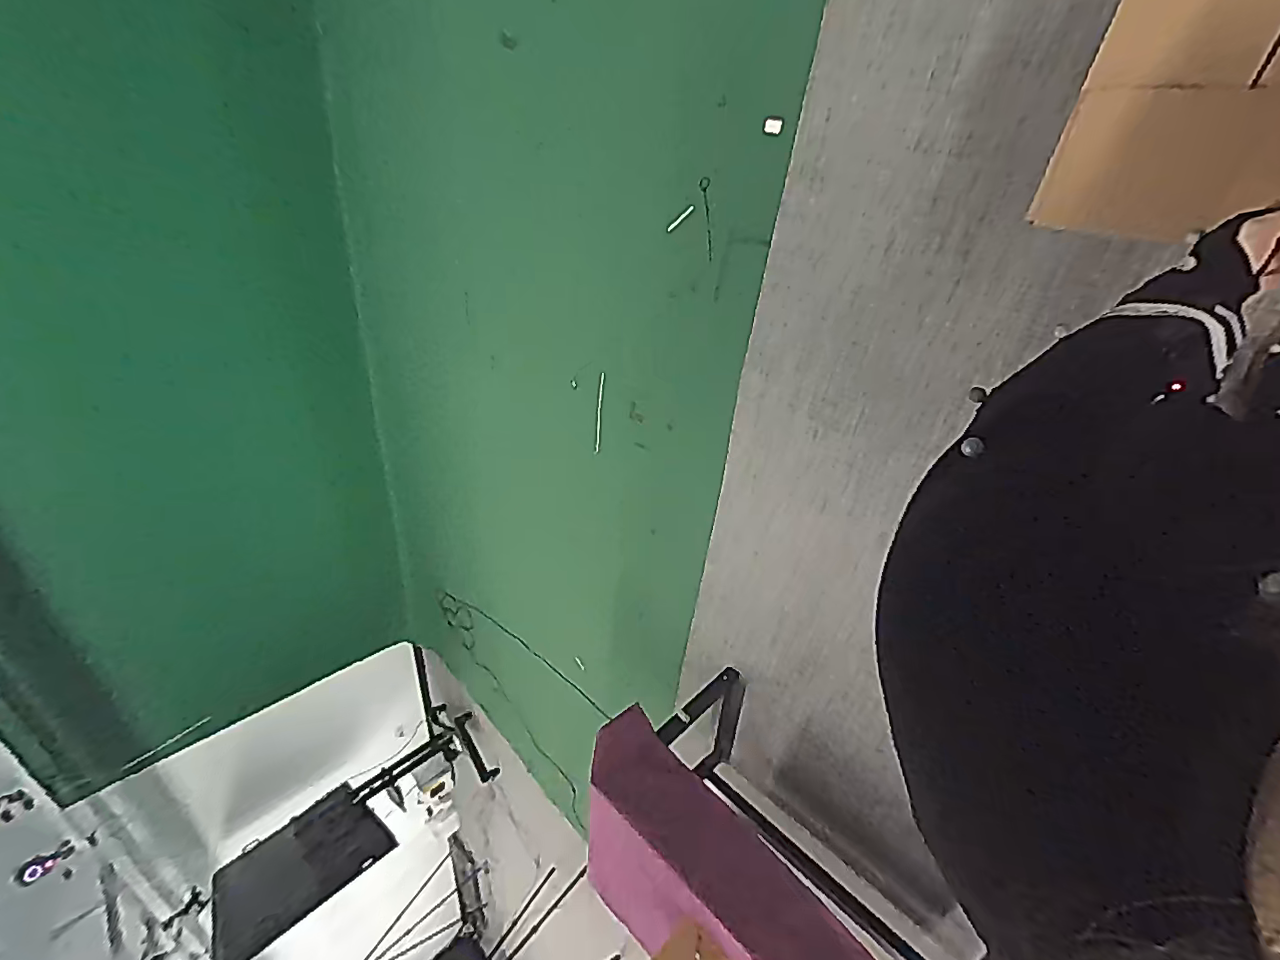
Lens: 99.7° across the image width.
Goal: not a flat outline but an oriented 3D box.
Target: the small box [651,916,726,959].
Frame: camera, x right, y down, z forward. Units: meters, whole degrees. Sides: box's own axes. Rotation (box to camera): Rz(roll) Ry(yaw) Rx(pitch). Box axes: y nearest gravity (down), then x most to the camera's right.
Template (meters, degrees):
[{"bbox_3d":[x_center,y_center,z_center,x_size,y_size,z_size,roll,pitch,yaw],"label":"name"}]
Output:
[{"bbox_3d":[0.126,1.358,1.474,0.168,0.176,0.179,30,128,35],"label":"small box"}]
